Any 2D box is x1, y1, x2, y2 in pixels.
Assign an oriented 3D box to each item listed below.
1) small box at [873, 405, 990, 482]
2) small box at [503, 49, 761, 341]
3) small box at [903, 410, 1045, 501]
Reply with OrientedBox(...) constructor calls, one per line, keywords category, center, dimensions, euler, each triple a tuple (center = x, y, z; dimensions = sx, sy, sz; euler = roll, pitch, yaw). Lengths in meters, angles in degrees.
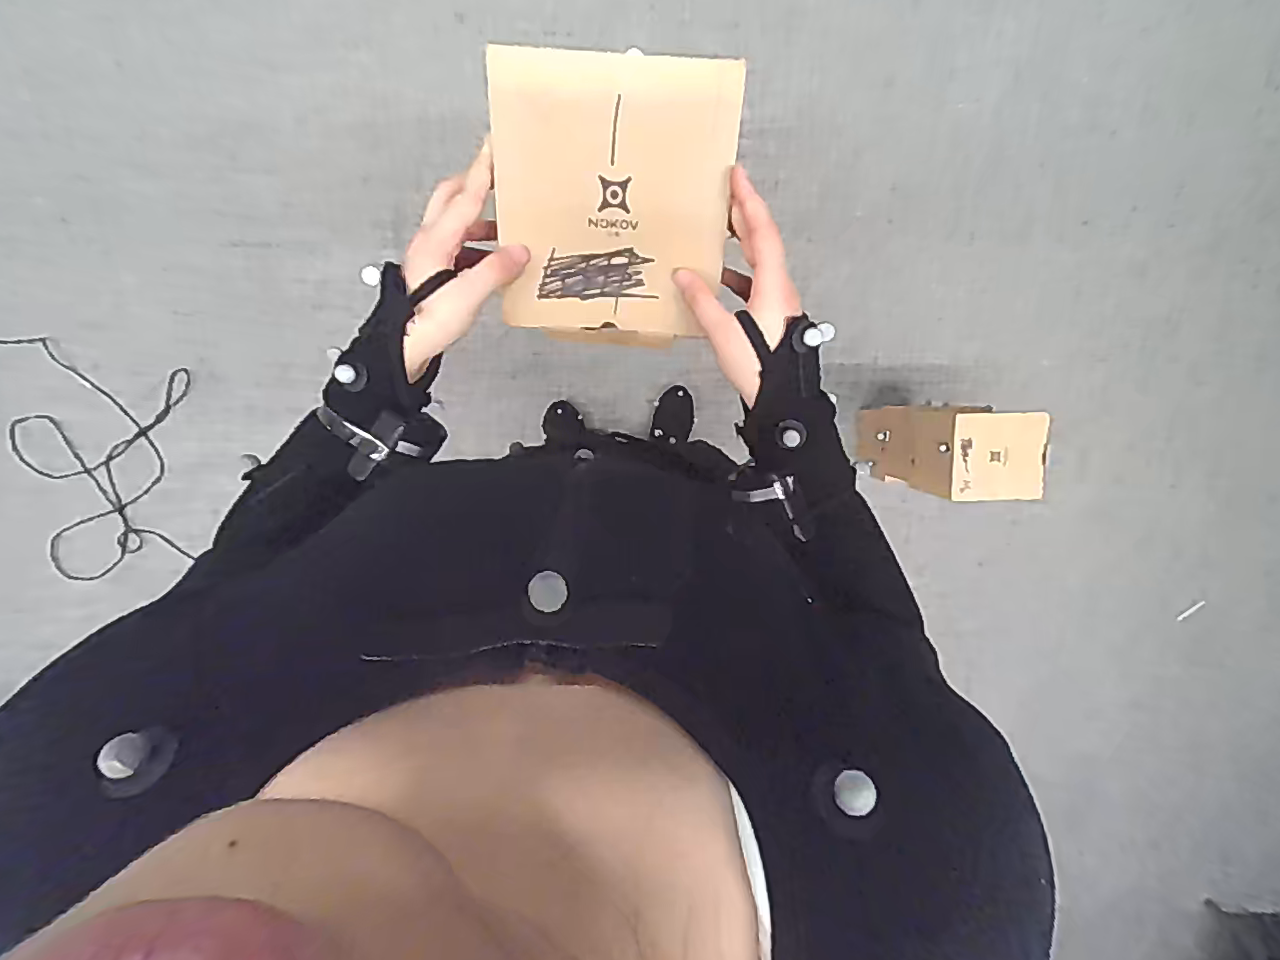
OrientedBox(category="small box", center=(0.665, -0.088, 1.248), dimensions=(0.179, 0.176, 0.168), euler=(-1, 98, 0))
OrientedBox(category="small box", center=(-0.008, -0.230, 0.448), dimensions=(0.168, 0.176, 0.179), euler=(3, 121, -1))
OrientedBox(category="small box", center=(0.662, -0.055, 1.087), dimensions=(0.179, 0.176, 0.168), euler=(-1, 98, -2))
